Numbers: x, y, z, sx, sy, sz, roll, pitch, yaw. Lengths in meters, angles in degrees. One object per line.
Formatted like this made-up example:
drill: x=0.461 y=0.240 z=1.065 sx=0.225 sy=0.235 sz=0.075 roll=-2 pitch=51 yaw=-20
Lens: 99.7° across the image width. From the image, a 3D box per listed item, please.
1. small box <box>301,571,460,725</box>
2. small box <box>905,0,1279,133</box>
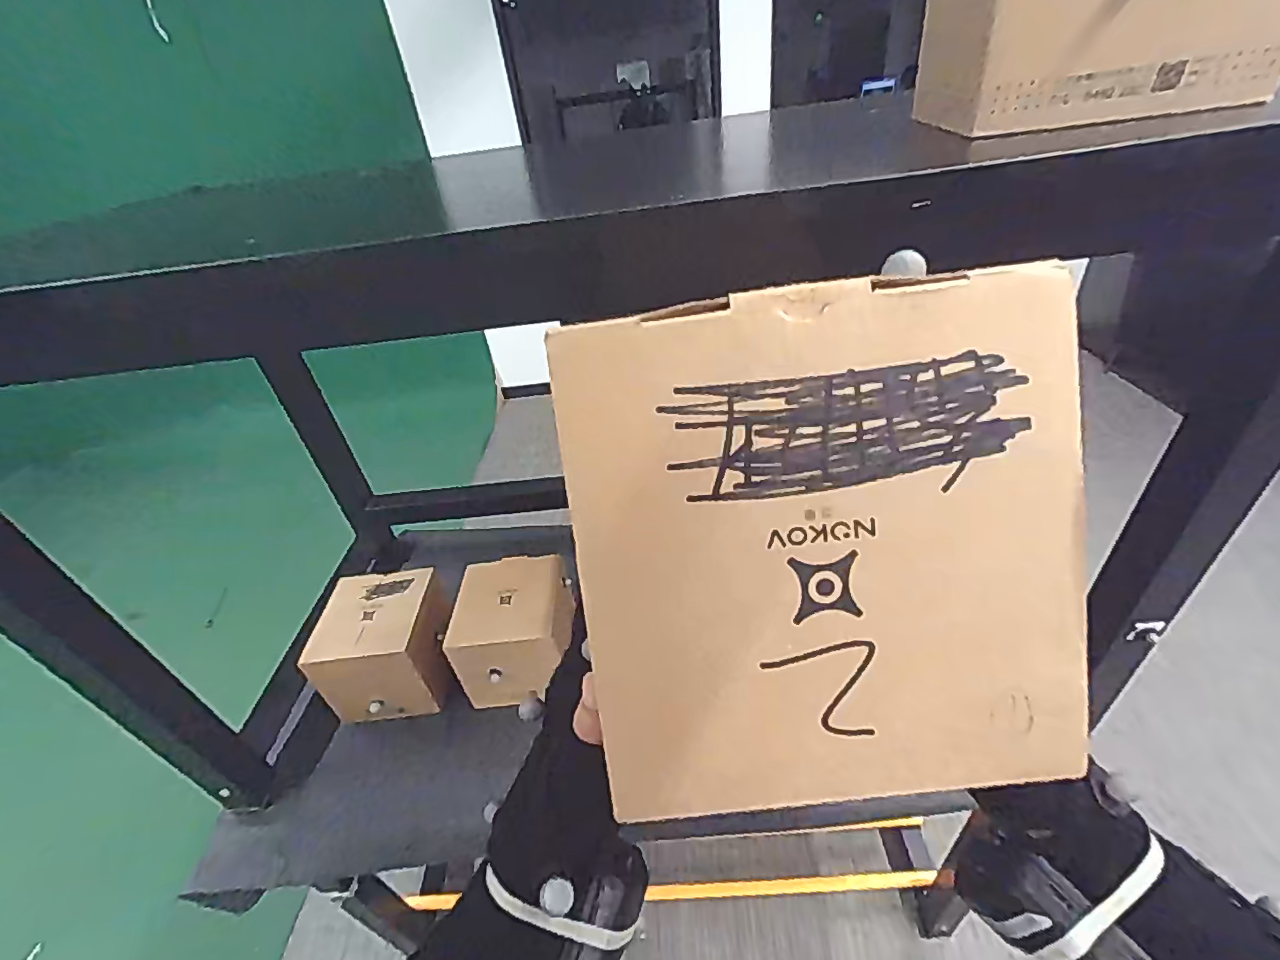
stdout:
small box: x=-0.418 y=0.281 z=0.910 sx=0.168 sy=0.176 sz=0.179 roll=-8 pitch=36 yaw=2
small box: x=0.291 y=-0.342 z=0.360 sx=0.168 sy=0.176 sz=0.179 roll=0 pitch=36 yaw=12
